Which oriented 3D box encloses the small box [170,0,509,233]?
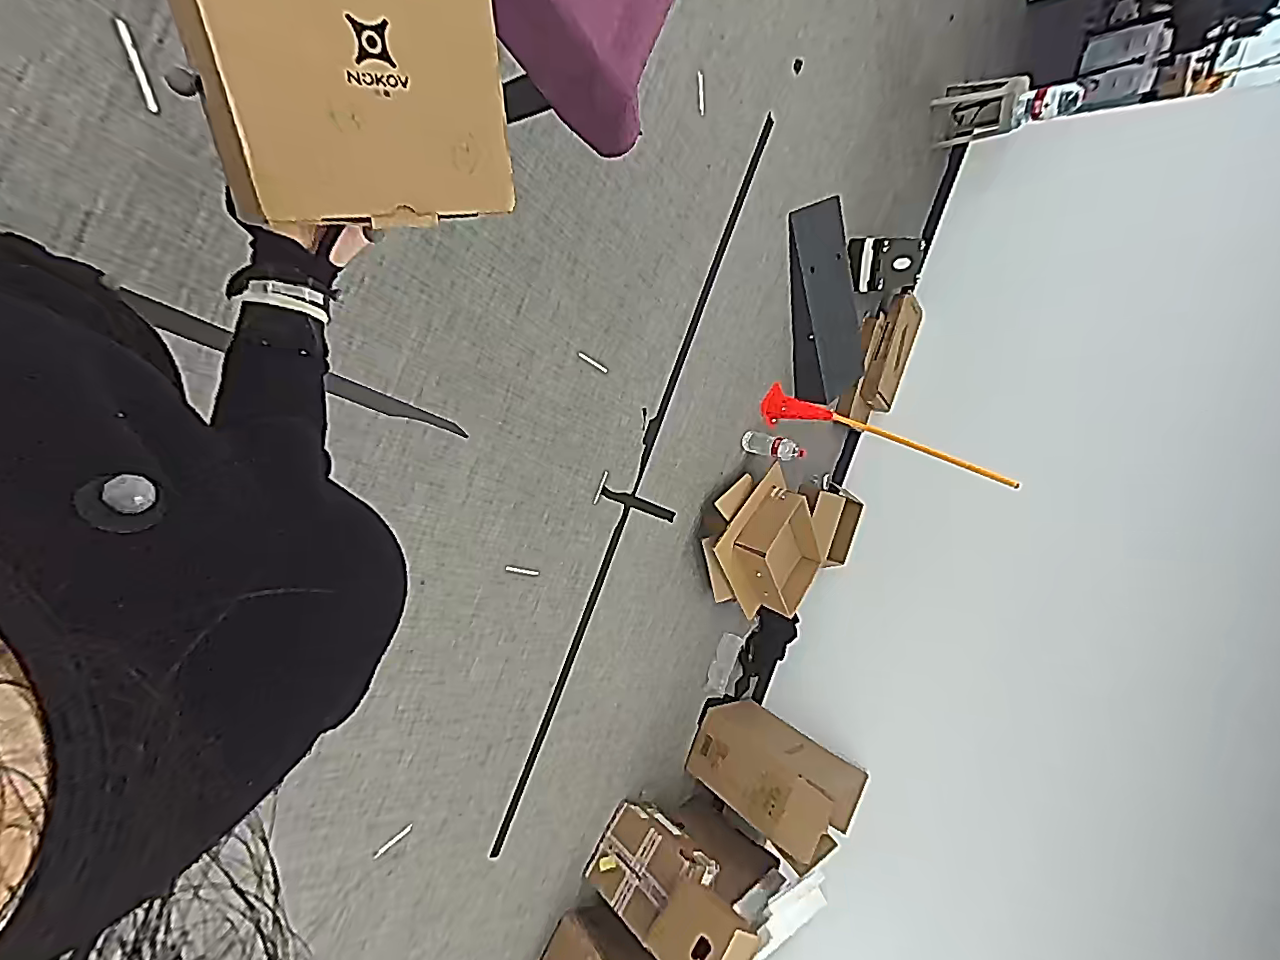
[{"bbox_3d":[-0.214,-0.282,0.390,0.168,0.176,0.179,-21,124,-33],"label":"small box"}]
